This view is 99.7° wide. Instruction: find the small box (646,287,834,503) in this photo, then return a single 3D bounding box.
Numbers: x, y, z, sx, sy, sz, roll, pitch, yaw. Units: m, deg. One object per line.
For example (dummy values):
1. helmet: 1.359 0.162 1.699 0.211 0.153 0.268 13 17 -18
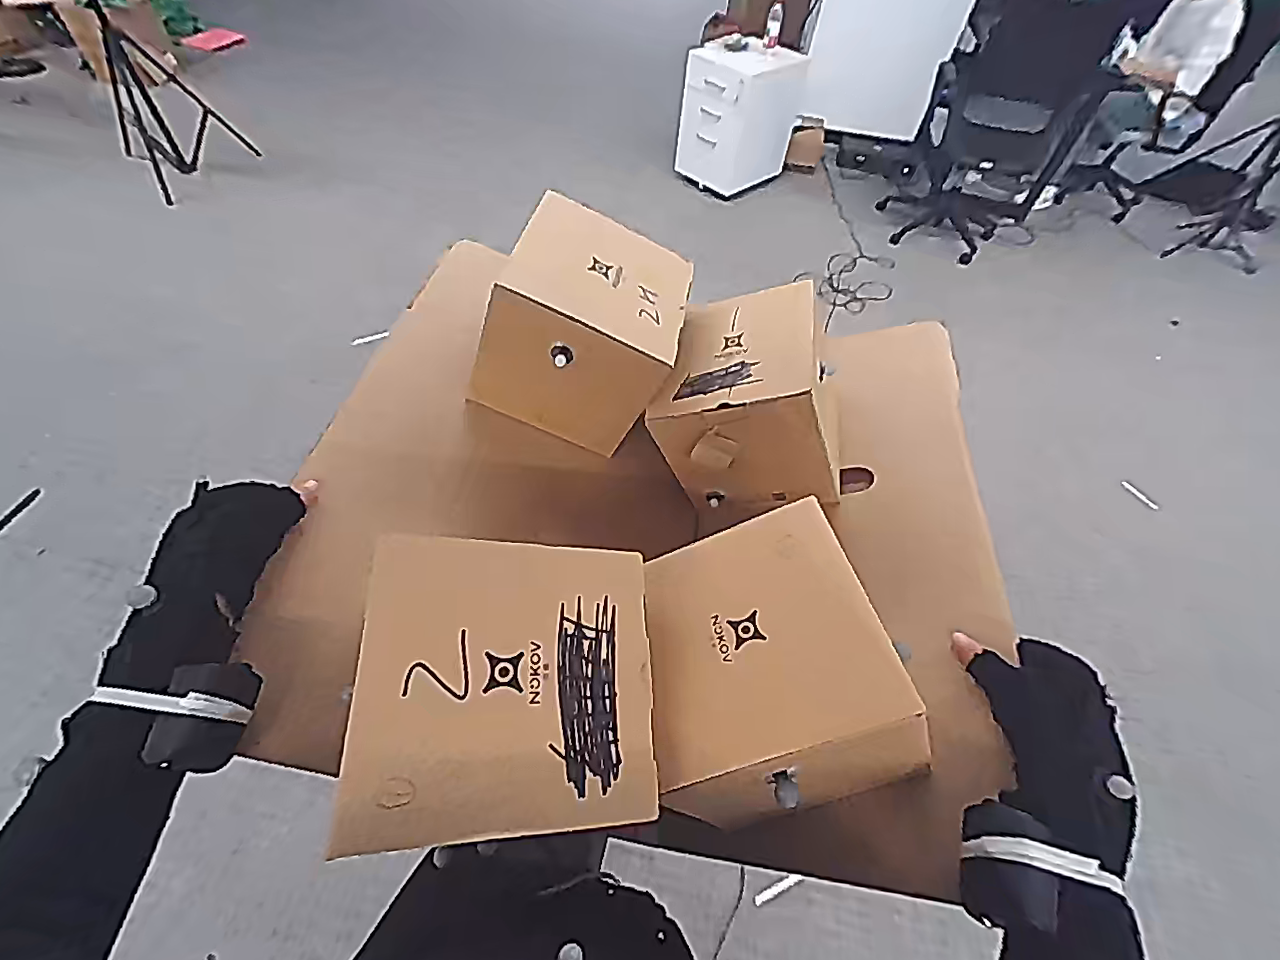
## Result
1. small box: 0.127 -0.085 0.625 0.168 0.176 0.179 -6 49 26
